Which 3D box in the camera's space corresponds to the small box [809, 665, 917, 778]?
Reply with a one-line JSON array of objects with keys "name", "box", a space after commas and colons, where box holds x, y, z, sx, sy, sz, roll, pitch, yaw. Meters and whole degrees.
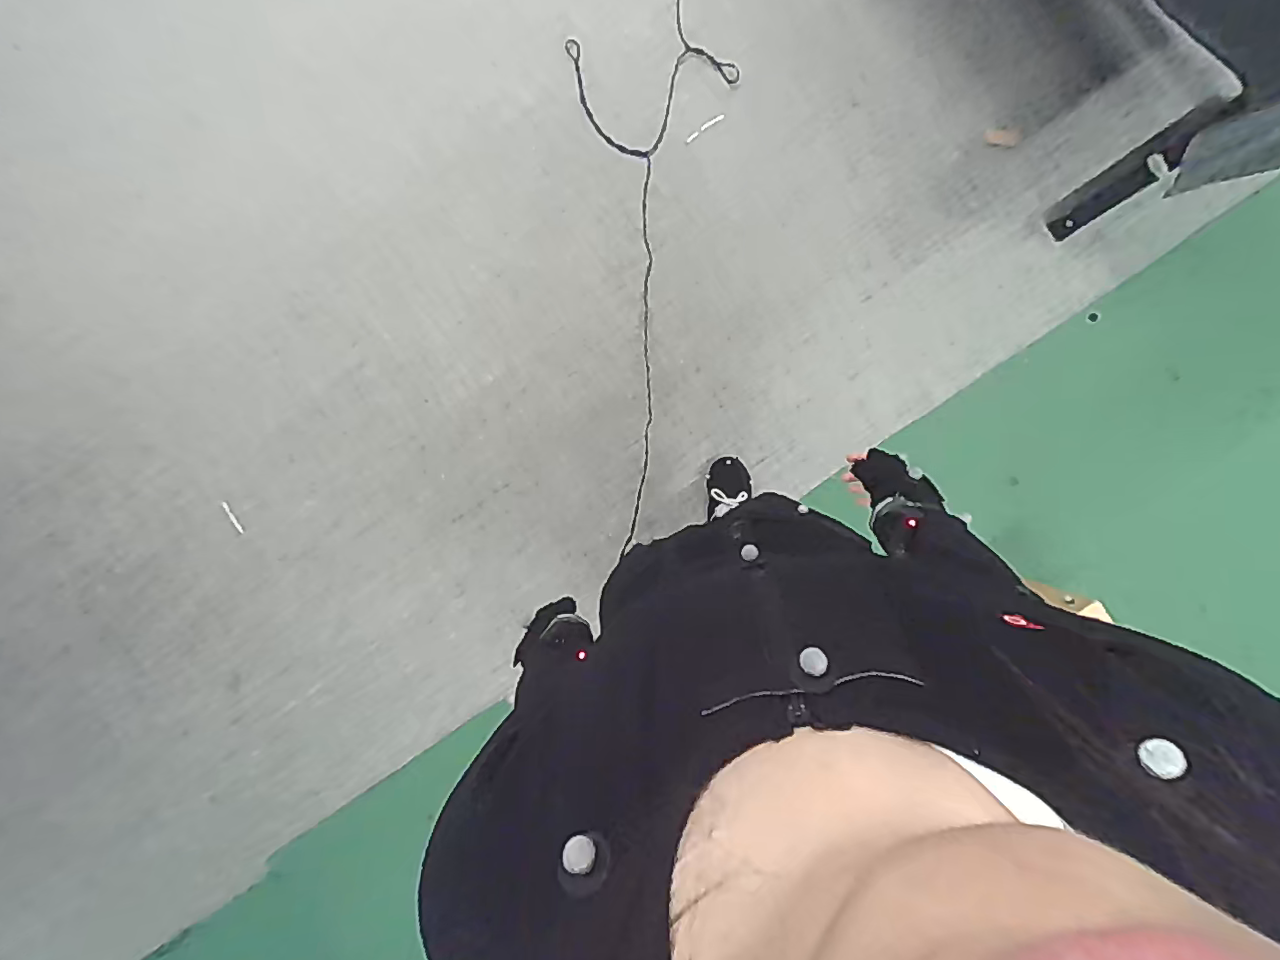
[{"name": "small box", "box": [0.563, 0.610, 1.389, 0.168, 0.176, 0.179, -34, 87, 4]}]
